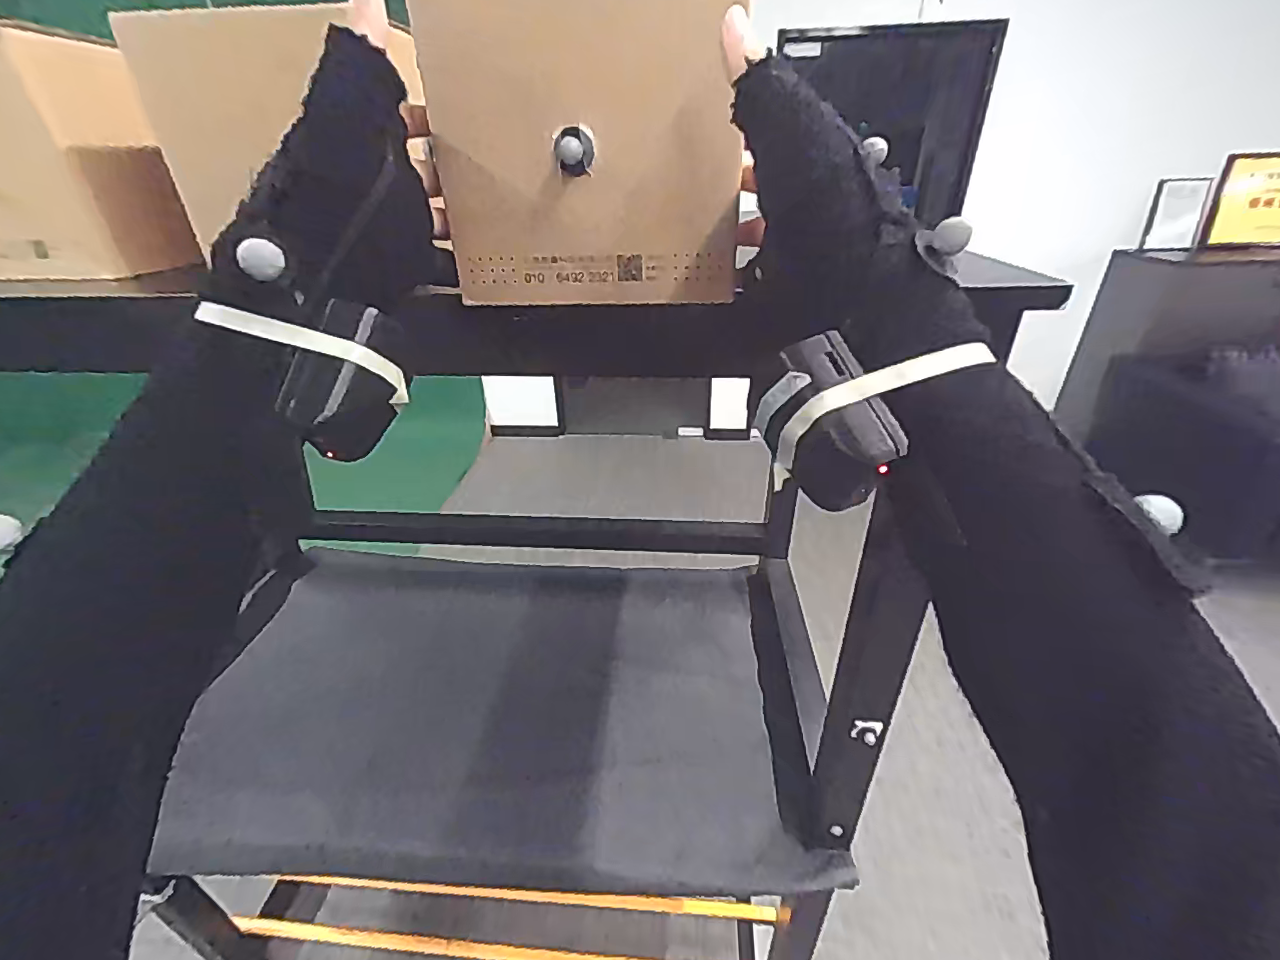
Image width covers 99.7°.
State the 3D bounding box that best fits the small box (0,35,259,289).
[{"bbox_3d":[-0.496,-0.272,0.488,0.168,0.176,0.179,2,30,6],"label":"small box"}]

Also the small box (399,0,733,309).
[{"bbox_3d":[-0.025,-0.215,0.360,0.168,0.176,0.179,2,30,5],"label":"small box"}]
